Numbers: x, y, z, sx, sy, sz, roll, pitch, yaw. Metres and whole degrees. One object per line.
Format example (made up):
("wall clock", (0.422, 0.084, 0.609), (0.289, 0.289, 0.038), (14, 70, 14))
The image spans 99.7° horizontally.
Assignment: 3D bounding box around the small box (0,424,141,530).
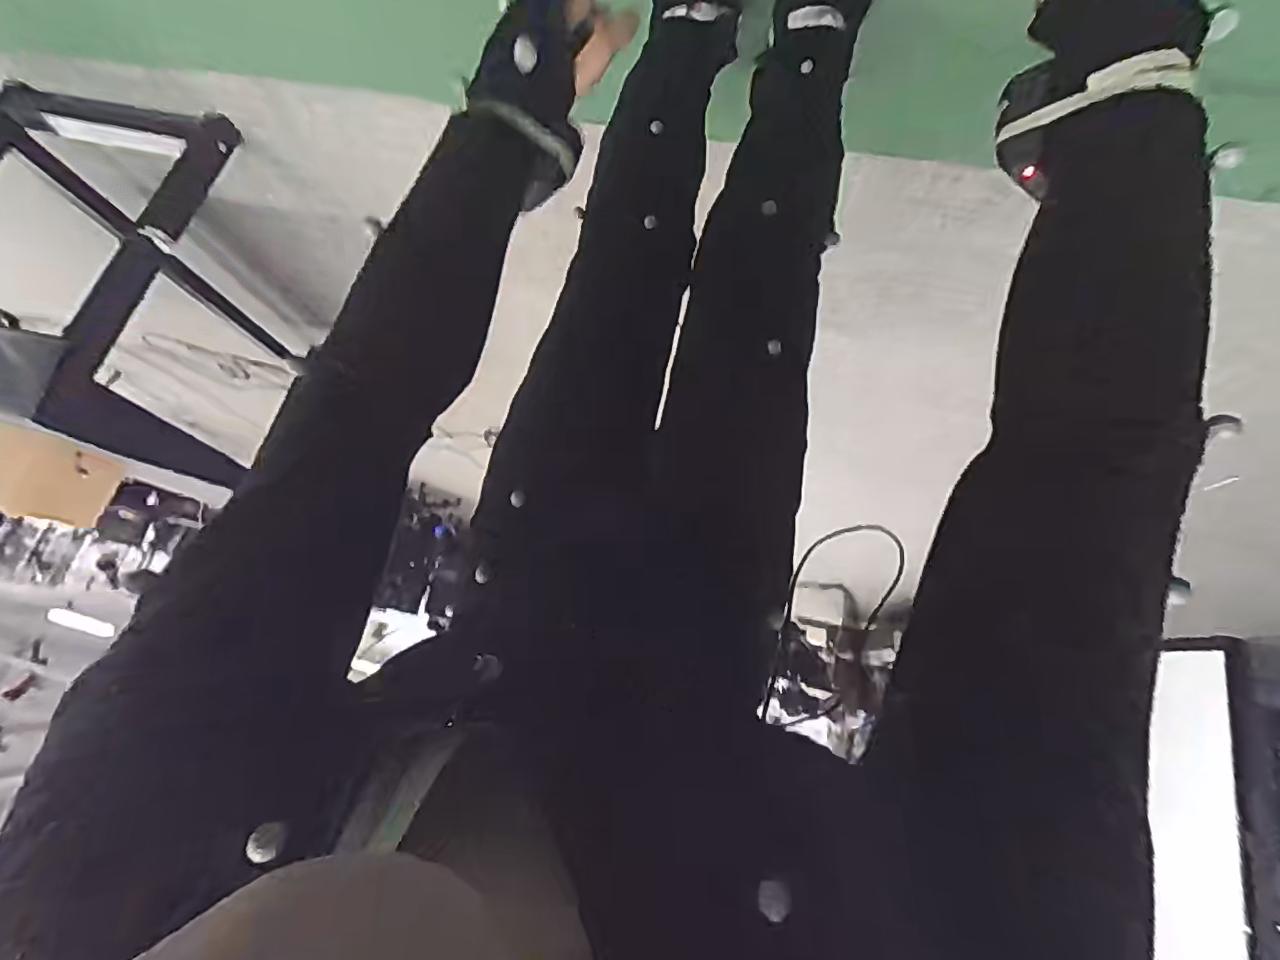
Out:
("small box", (-1.260, -0.007, 1.176), (0.179, 0.176, 0.168), (13, 164, 9))
